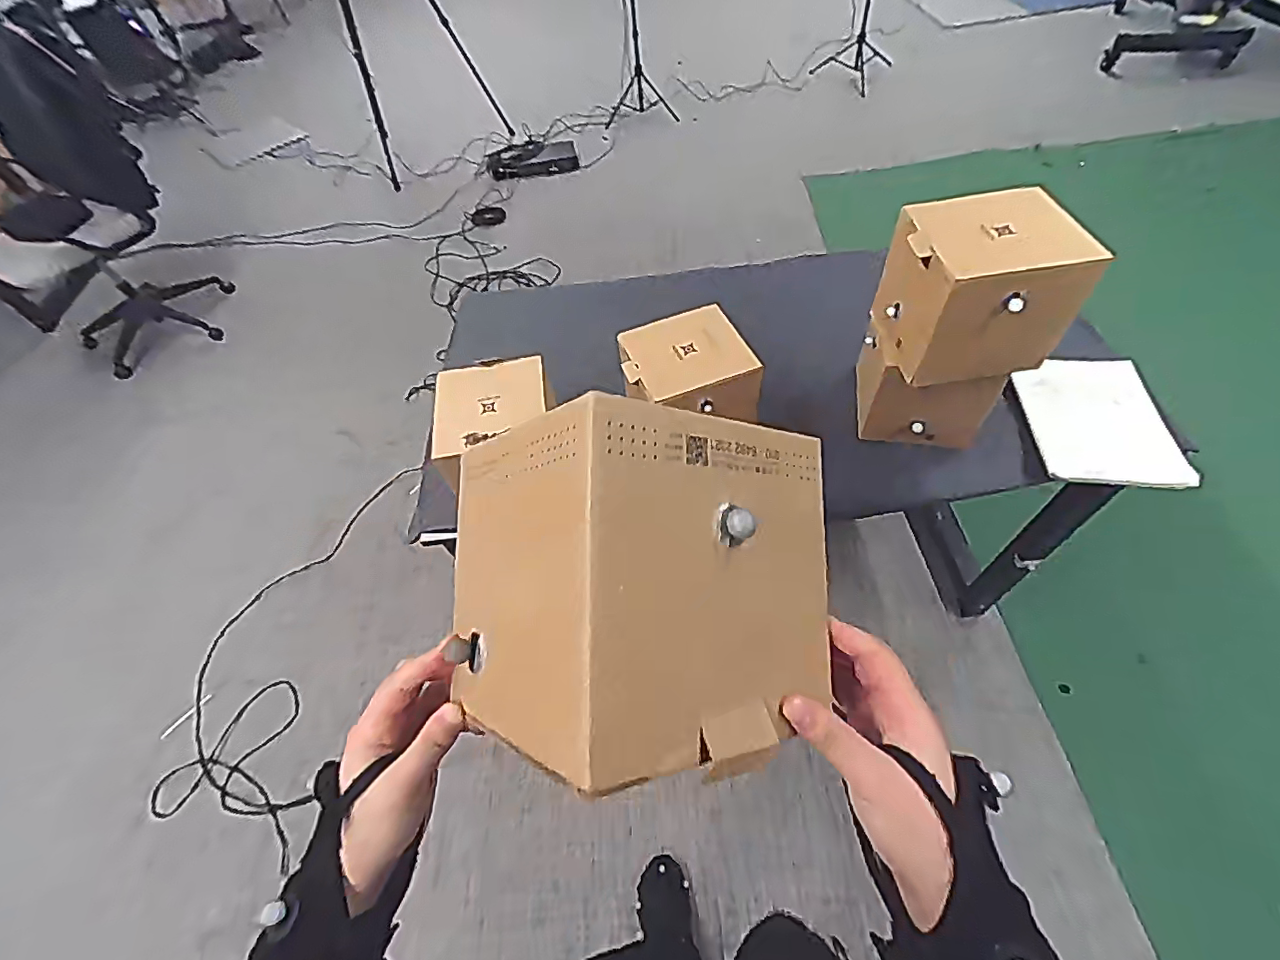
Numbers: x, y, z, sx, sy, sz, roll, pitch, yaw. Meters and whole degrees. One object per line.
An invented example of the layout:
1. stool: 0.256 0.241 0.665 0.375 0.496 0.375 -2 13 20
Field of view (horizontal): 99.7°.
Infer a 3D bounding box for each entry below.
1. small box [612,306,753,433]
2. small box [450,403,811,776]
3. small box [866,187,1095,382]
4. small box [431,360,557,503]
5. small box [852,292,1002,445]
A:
1. small box: 0.071 -0.150 0.897 0.179 0.176 0.168 -20 56 -8
2. small box: -0.011 0.060 0.351 0.168 0.179 0.176 5 79 -36
3. small box: 0.428 -0.253 0.718 0.179 0.176 0.168 -8 54 3
4. small box: -0.218 -0.062 0.871 0.168 0.176 0.179 -11 55 -1
5. small box: 0.441 -0.180 0.865 0.168 0.176 0.179 5 56 12
